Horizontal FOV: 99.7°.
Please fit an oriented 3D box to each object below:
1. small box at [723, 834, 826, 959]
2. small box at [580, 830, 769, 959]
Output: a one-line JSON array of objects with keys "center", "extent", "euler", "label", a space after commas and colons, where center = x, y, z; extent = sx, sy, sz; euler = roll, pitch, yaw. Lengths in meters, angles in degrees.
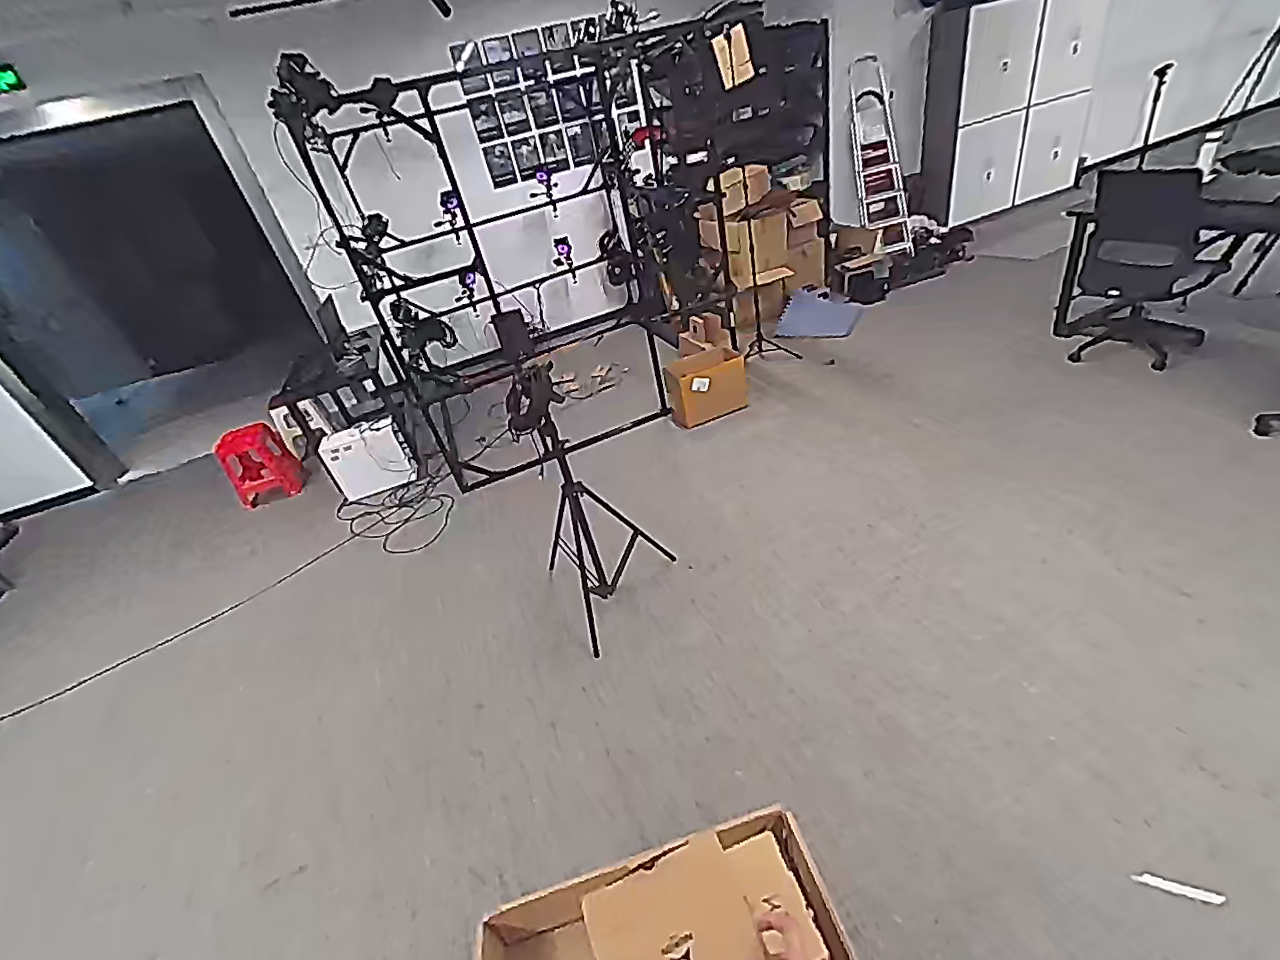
[{"center": [0.161, 0.676, 0.797], "extent": [0.179, 0.176, 0.168], "euler": [-20, 33, -7], "label": "small box"}, {"center": [0.050, 0.534, 0.593], "extent": [0.168, 0.176, 0.179], "euler": [-22, 45, -10], "label": "small box"}]
